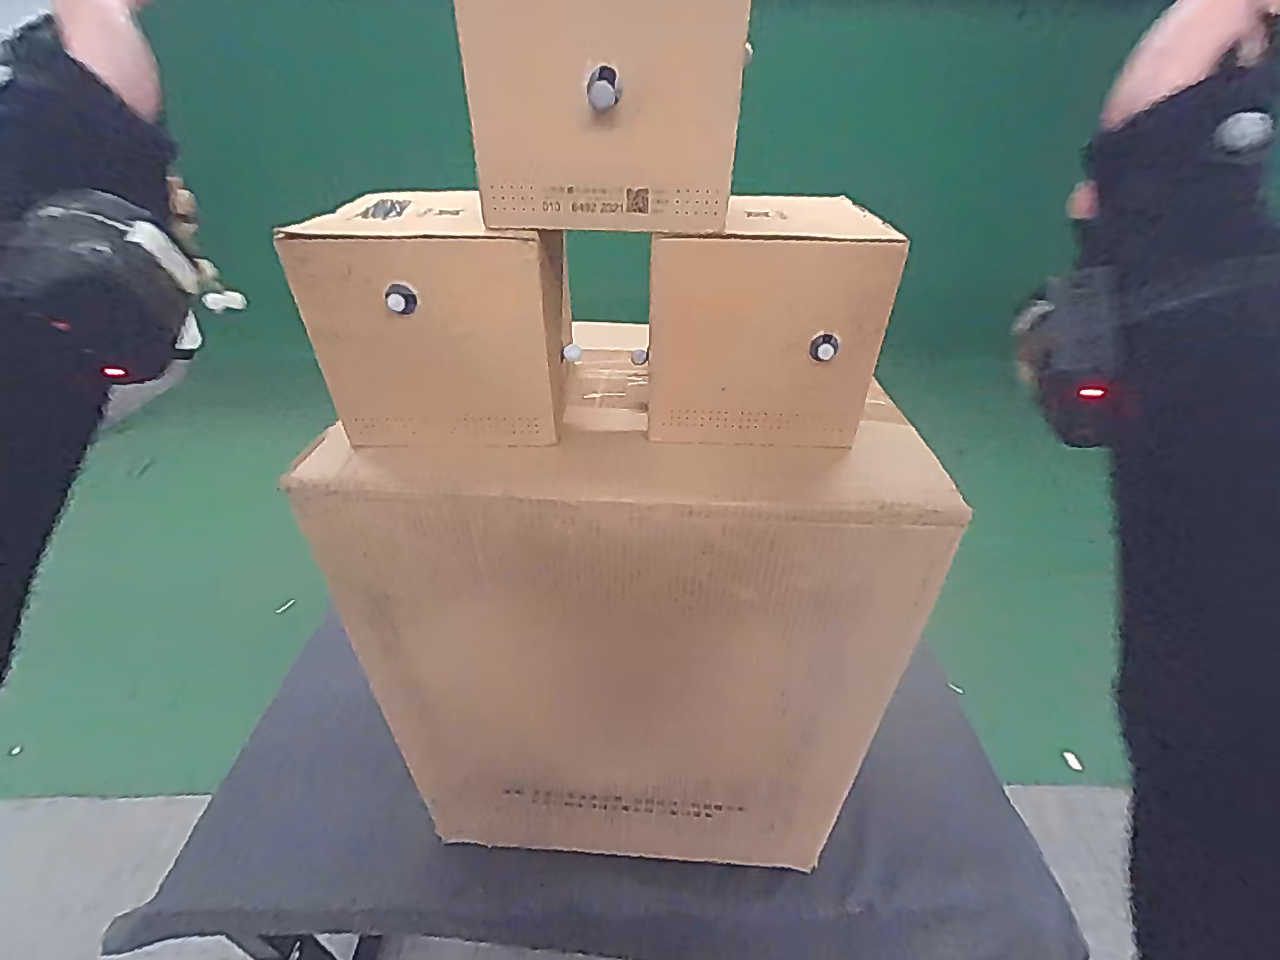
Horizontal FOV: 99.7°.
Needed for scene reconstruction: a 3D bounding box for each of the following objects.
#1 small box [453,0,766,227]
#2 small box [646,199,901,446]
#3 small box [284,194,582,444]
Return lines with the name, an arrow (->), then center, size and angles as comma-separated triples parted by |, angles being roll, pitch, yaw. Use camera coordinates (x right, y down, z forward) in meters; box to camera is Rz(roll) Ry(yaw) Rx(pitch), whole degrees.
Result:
small box -> -0.021, -0.294, 0.398 | 0.179, 0.176, 0.168 | -19, 40, -23
small box -> 0.097, -0.141, 0.481 | 0.179, 0.176, 0.168 | 1, 36, 3
small box -> -0.155, -0.144, 0.479 | 0.179, 0.176, 0.168 | 2, 39, 4
